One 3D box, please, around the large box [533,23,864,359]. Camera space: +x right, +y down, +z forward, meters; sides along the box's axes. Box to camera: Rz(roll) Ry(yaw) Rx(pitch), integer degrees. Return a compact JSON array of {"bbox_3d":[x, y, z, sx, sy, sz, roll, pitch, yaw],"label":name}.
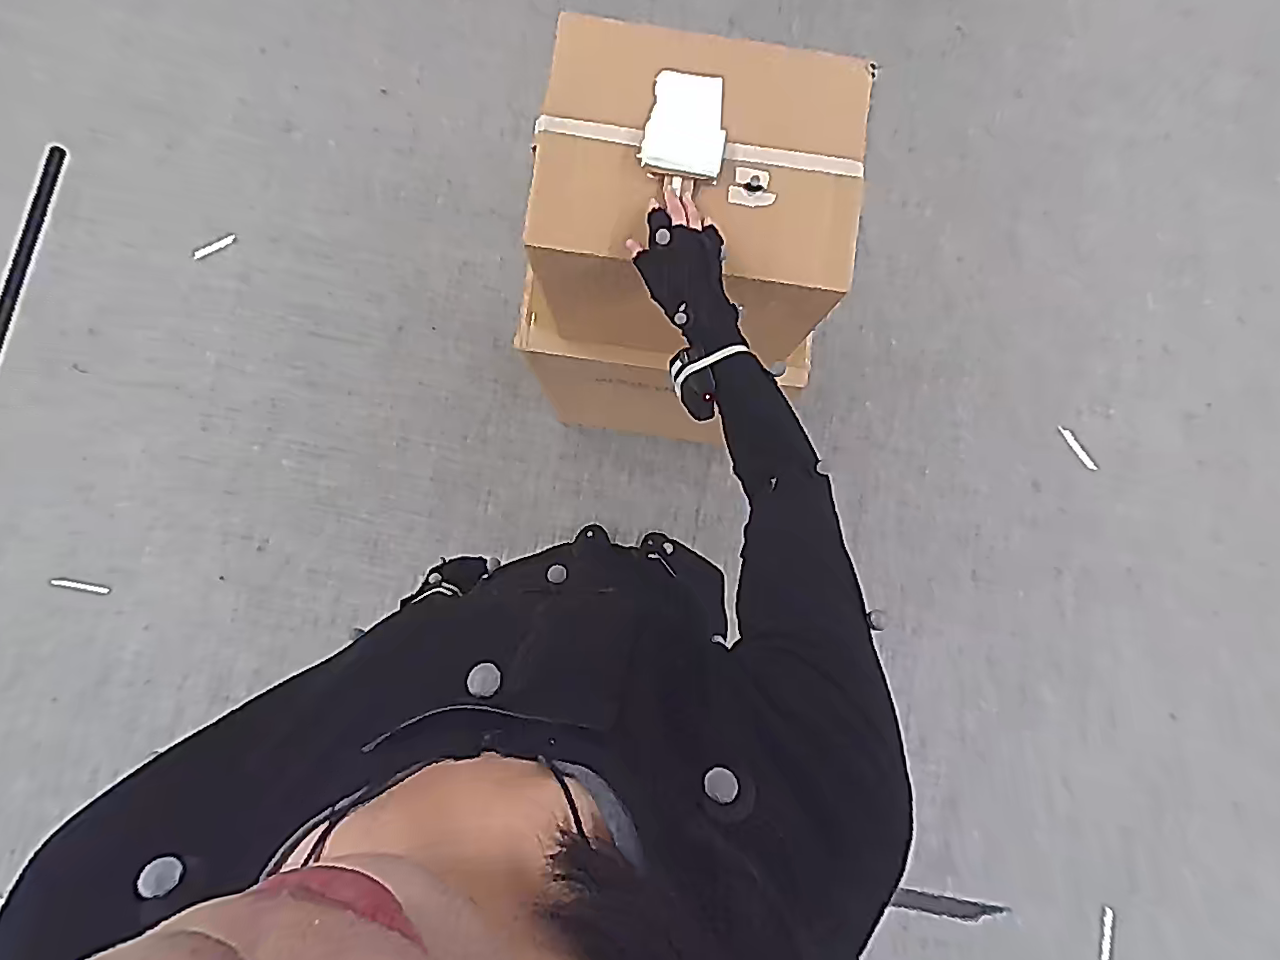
[{"bbox_3d":[0.072,-0.403,0.835,0.408,0.320,0.320,8,84,-2],"label":"large box"}]
